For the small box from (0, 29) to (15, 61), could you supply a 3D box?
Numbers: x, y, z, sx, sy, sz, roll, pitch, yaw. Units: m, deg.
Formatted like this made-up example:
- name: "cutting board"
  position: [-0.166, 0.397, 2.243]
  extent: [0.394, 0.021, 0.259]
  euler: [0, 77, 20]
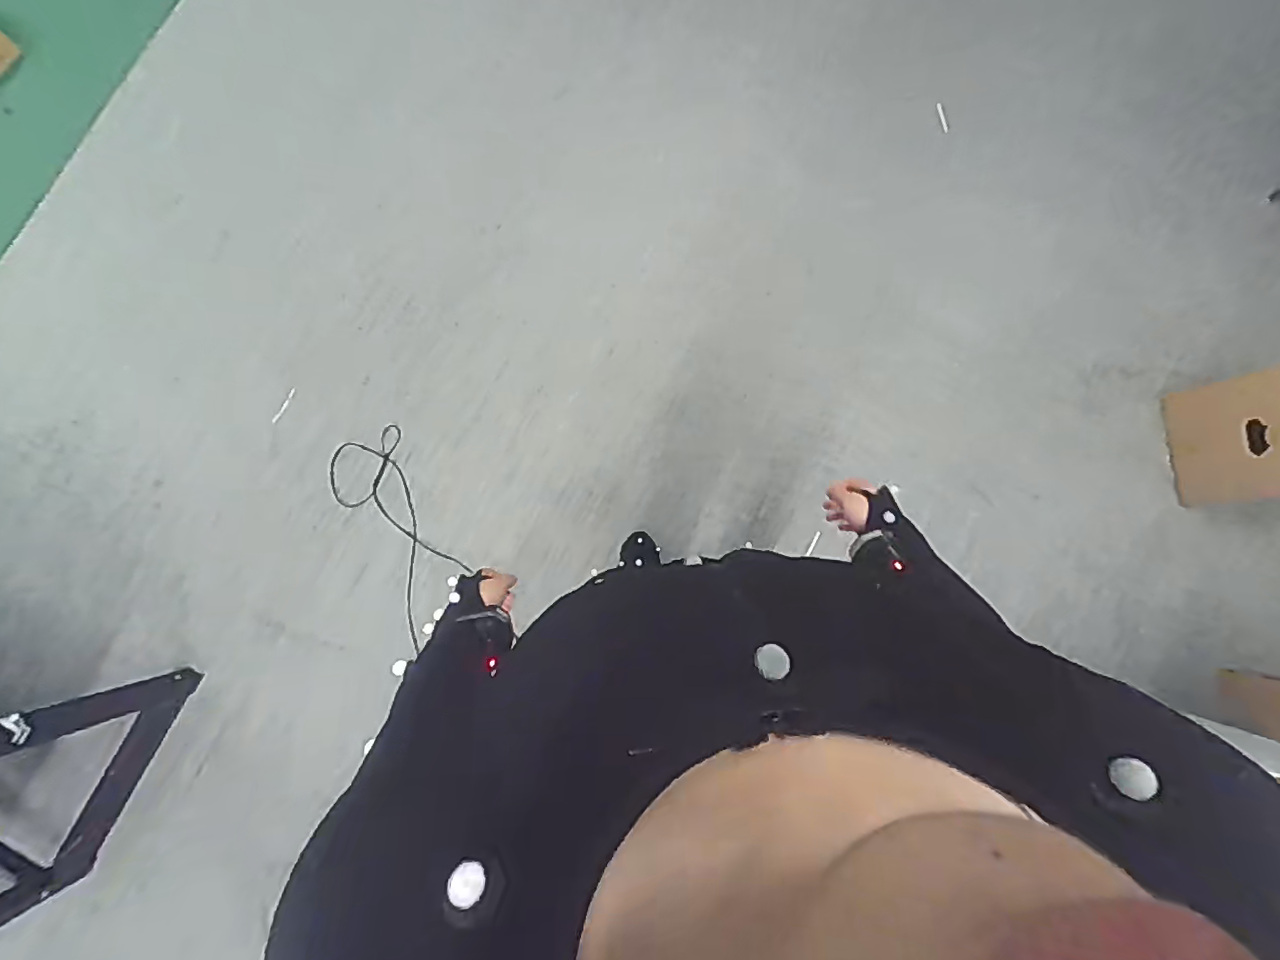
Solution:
- name: "small box"
  position: [-2.040, -1.344, 1.594]
  extent: [0.179, 0.176, 0.168]
  euler: [36, 84, 4]
